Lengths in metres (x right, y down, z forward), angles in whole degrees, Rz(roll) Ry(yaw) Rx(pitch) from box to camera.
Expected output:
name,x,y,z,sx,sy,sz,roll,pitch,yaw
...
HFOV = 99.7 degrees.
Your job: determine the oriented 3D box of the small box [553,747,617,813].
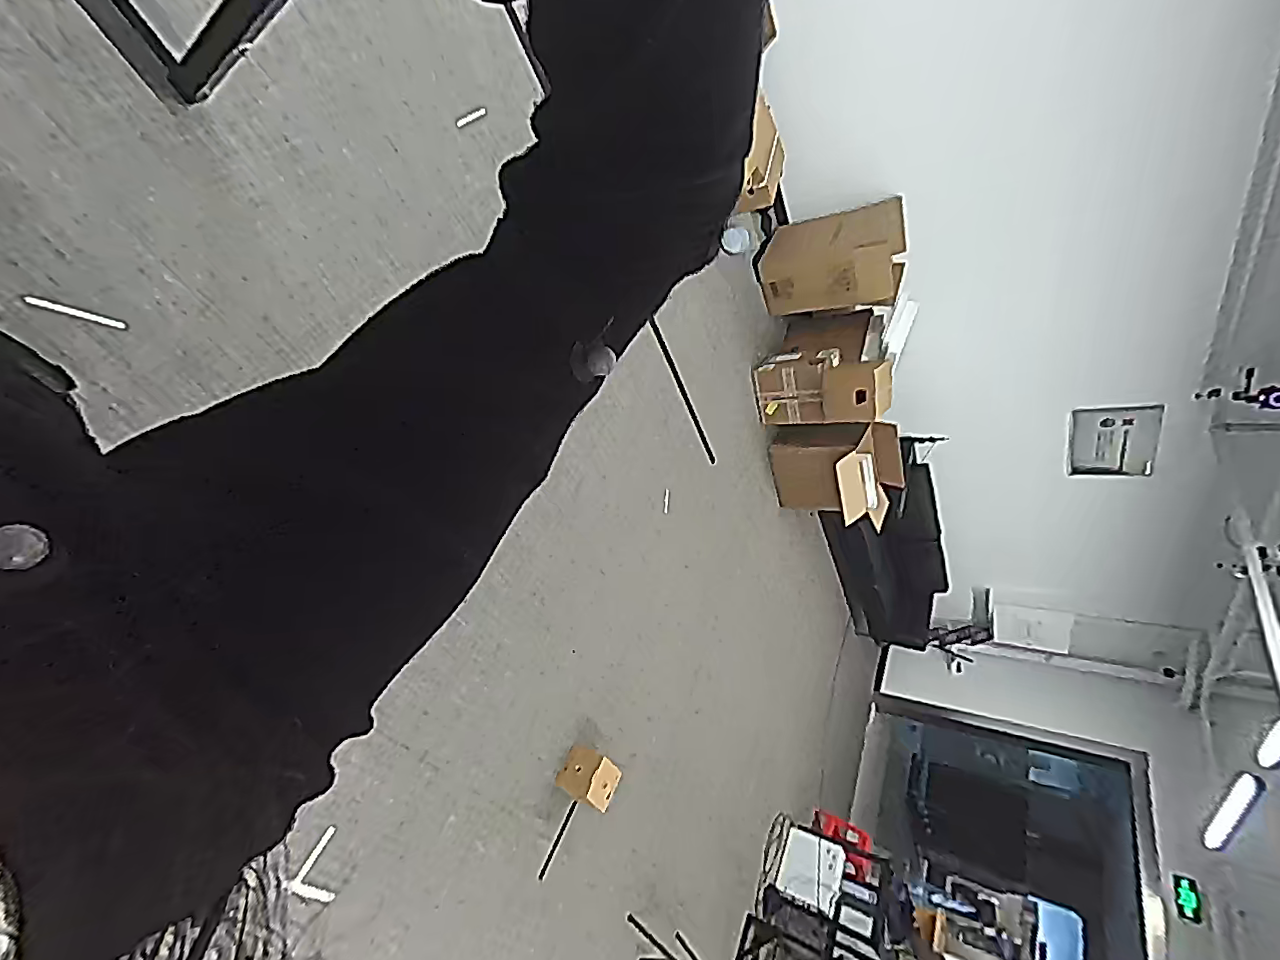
name,x,y,z,sx,sy,sz,roll,pitch,yaw
small box,-0.229,1.228,2.227,0.168,0.176,0.179,-57,133,-36
